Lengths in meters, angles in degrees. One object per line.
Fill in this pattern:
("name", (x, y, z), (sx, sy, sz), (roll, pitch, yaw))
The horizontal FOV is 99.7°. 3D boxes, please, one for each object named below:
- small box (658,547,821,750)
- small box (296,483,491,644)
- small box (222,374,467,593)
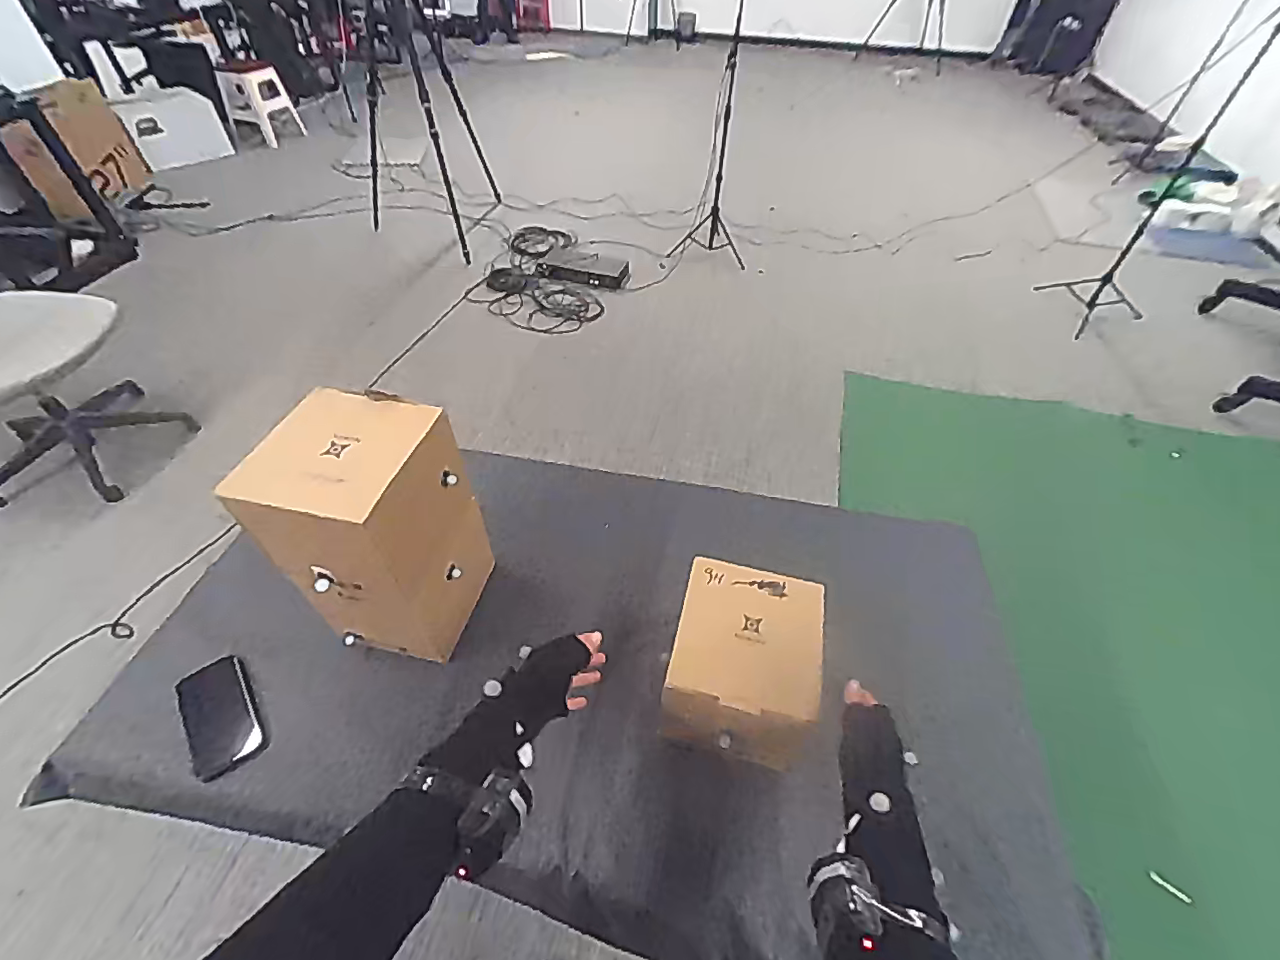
("small box", (0.122, 0.217, 0.686), (0.168, 0.176, 0.179), (12, 50, 9))
("small box", (-0.326, 0.107, 0.763), (0.168, 0.176, 0.179), (11, 49, 7))
("small box", (-0.321, 0.005, 0.638), (0.168, 0.176, 0.179), (10, 50, 7))
